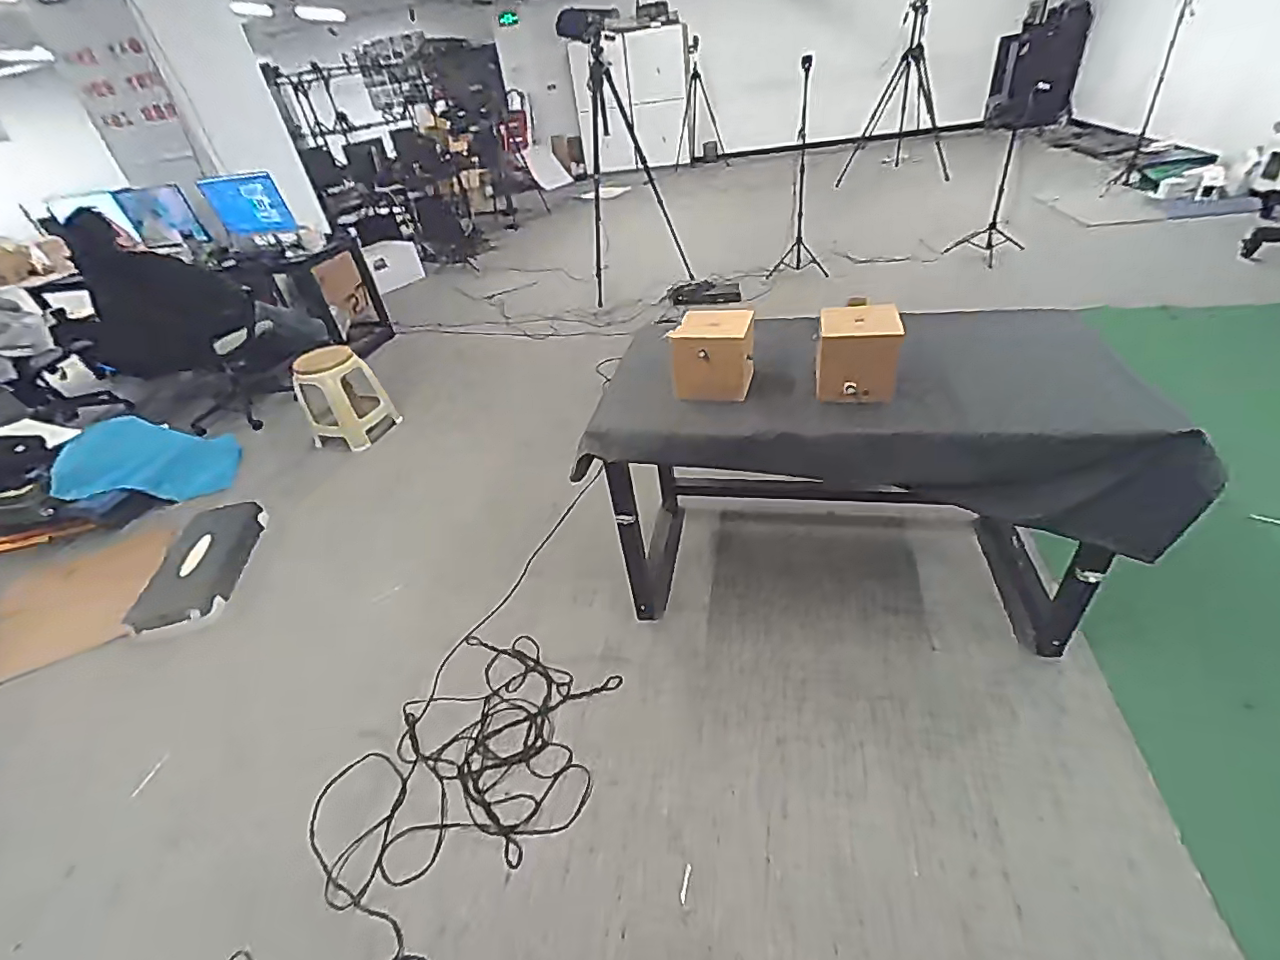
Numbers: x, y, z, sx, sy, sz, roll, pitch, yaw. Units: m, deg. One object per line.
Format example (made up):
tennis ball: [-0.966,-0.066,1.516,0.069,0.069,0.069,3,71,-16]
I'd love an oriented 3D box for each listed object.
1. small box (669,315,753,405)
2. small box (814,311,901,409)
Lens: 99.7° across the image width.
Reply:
small box: [0.182,-0.298,1.345,0.179,0.176,0.168,5,38,18]
small box: [0.497,-0.280,1.259,0.168,0.176,0.179,1,38,15]
